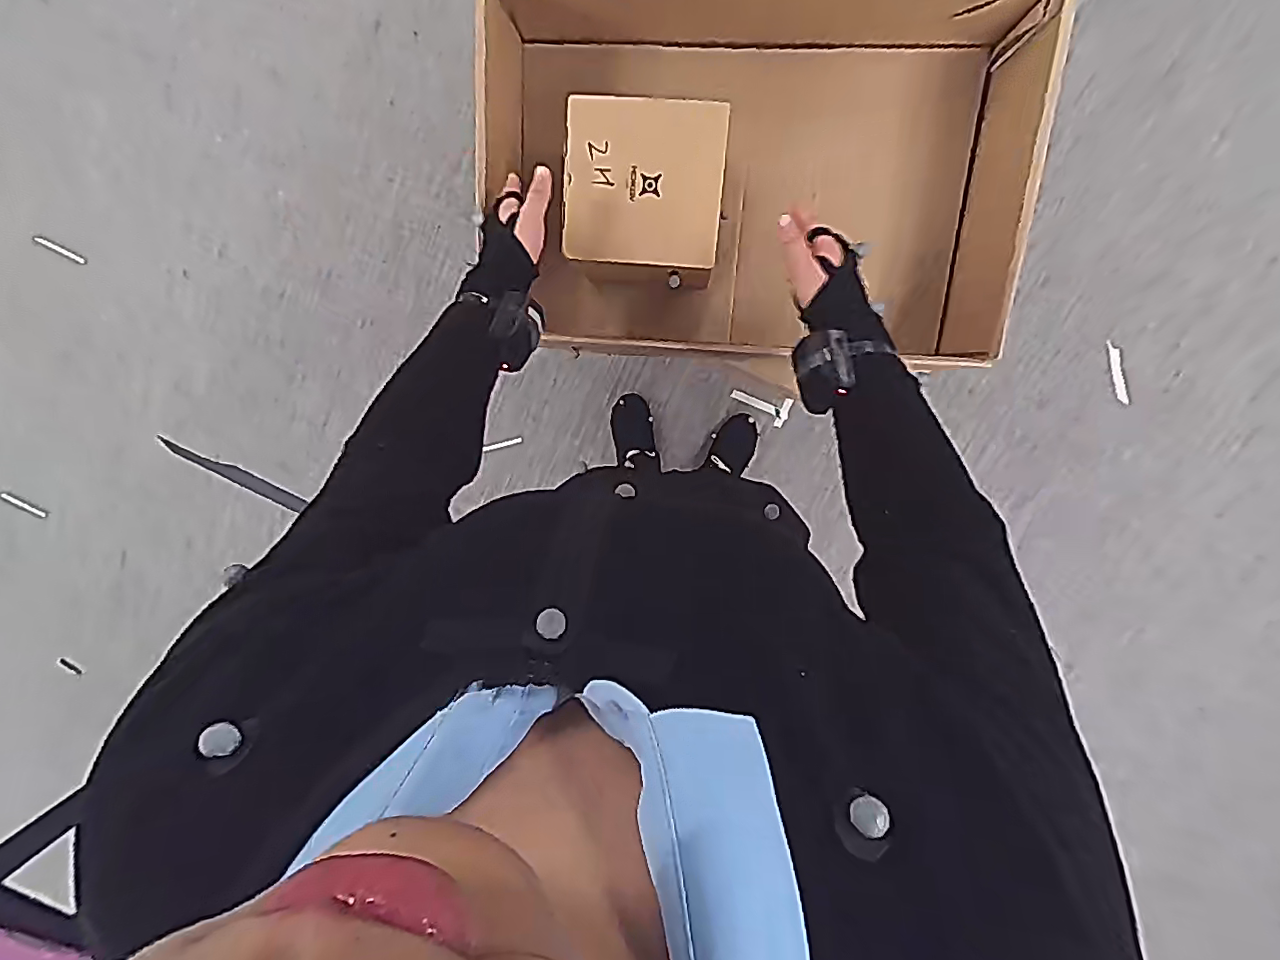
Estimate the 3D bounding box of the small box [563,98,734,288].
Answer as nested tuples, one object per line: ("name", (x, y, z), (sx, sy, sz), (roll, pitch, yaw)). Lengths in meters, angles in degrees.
("small box", (0.012, -0.337, 0.666), (0.179, 0.176, 0.168), (6, 103, 4))
